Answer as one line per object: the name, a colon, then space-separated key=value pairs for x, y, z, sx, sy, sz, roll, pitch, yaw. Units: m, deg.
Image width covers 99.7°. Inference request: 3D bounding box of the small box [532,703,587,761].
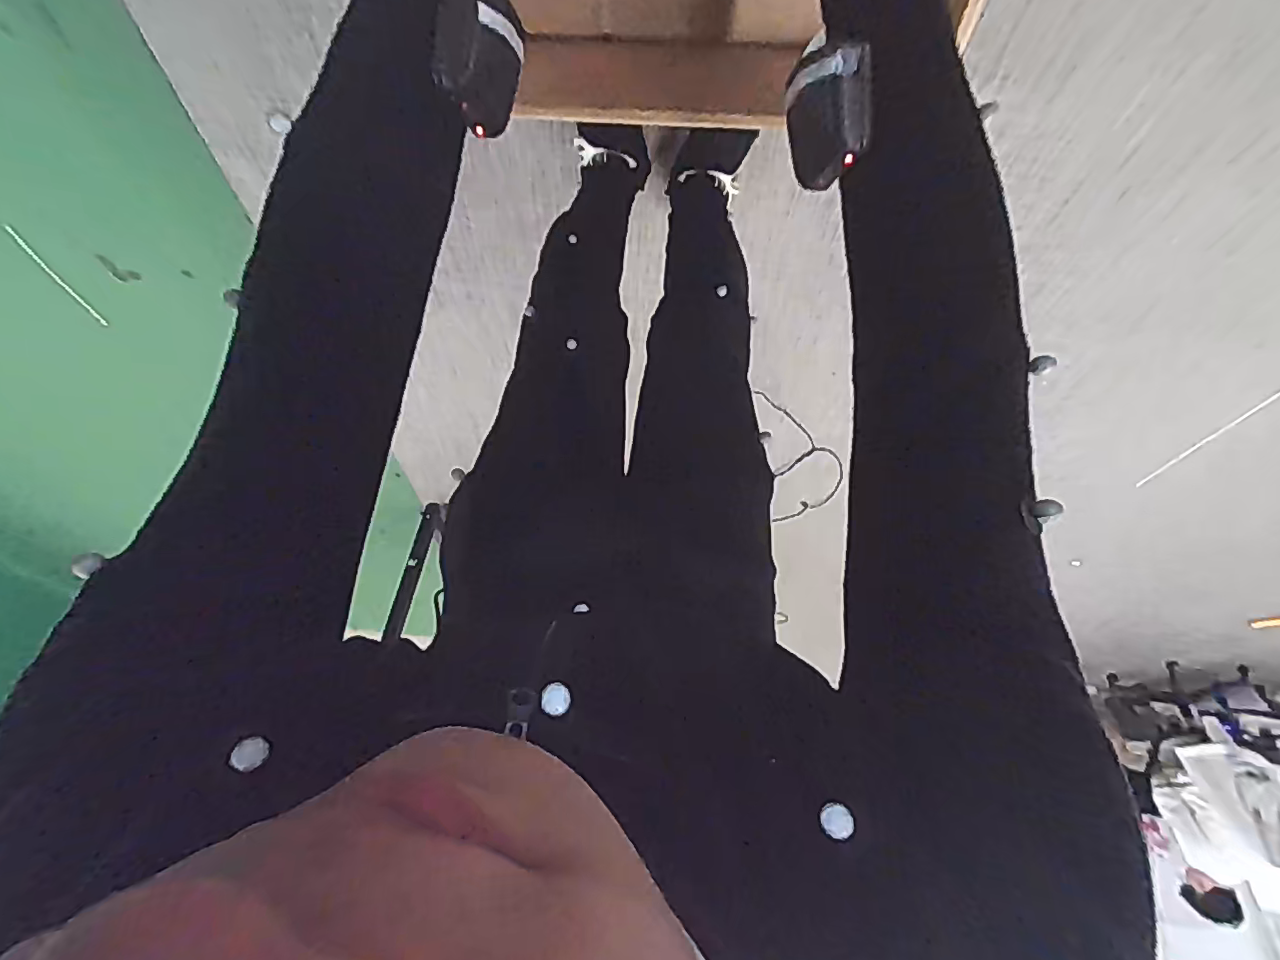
small box: x=-0.286 y=0.918 z=1.965 sx=0.168 sy=0.176 sz=0.179 roll=4 pitch=149 yaw=1
